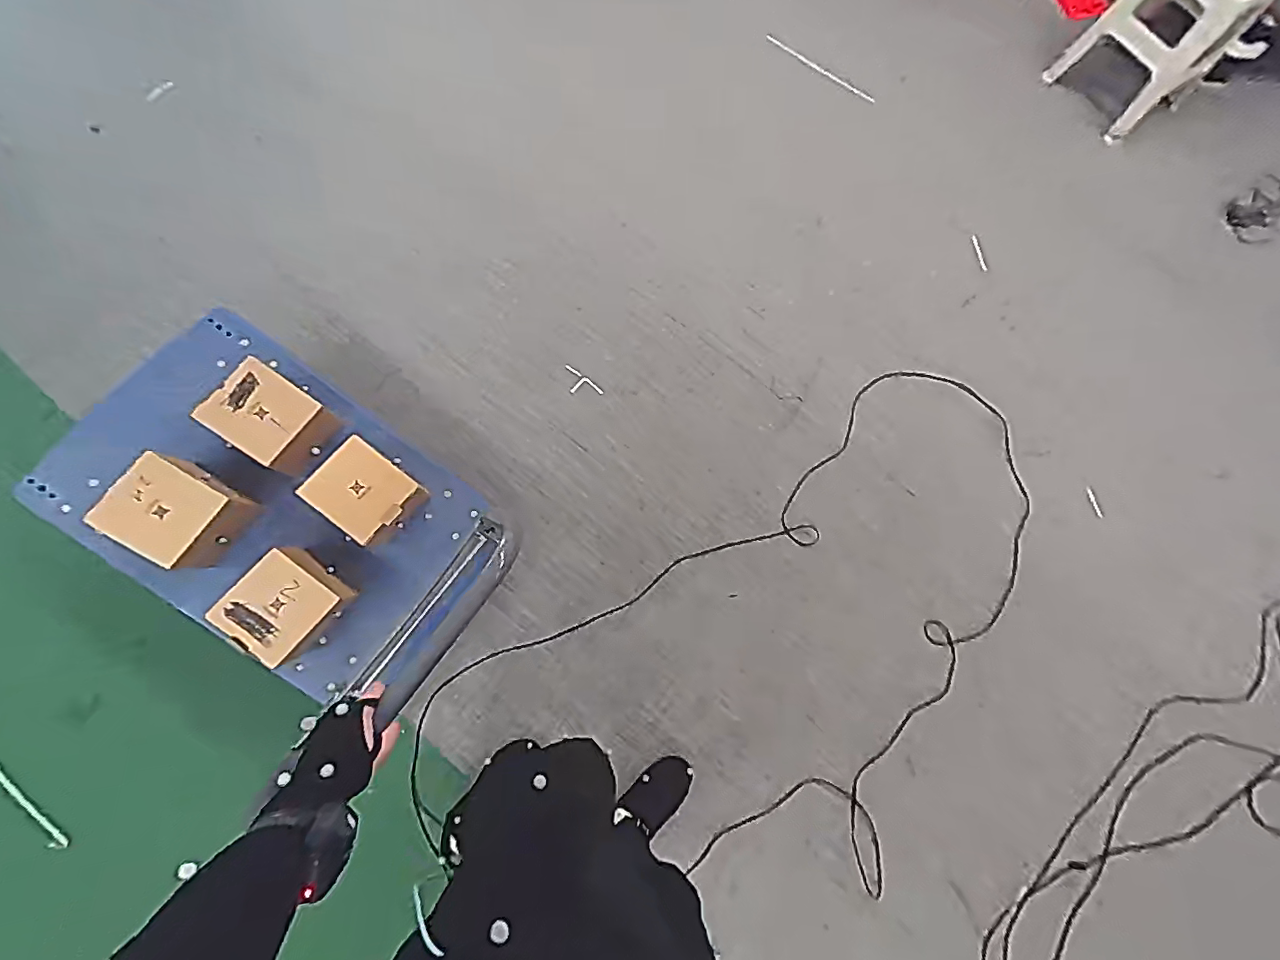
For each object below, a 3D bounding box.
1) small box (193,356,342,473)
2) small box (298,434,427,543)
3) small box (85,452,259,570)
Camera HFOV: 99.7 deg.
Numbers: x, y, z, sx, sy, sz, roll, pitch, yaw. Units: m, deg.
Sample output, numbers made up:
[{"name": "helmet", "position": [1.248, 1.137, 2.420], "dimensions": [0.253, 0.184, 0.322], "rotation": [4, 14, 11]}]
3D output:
[{"name": "small box", "position": [-0.792, -0.131, 1.174], "dimensions": [0.179, 0.176, 0.168], "rotation": [37, 76, -7]}, {"name": "small box", "position": [-0.603, 0.029, 1.201], "dimensions": [0.179, 0.176, 0.168], "rotation": [41, 75, -6]}, {"name": "small box", "position": [-0.938, 0.067, 1.108], "dimensions": [0.179, 0.176, 0.168], "rotation": [35, 75, -7]}]
